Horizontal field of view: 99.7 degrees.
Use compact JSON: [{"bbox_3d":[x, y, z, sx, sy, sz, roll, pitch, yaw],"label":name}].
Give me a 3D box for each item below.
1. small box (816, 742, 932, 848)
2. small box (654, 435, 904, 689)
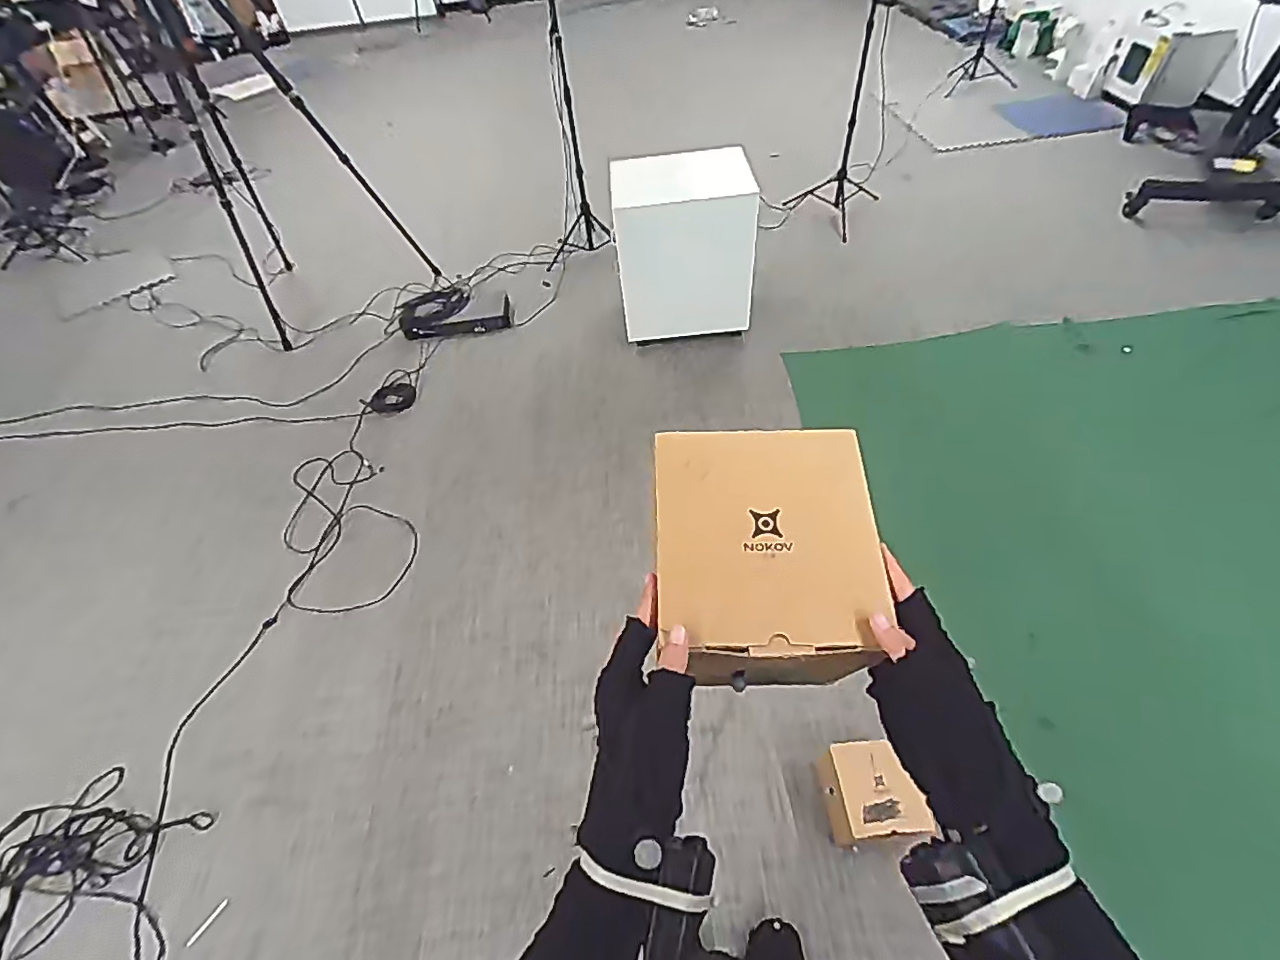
[{"bbox_3d":[0.497,0.690,1.179,0.168,0.176,0.179,-6,50,1],"label":"small box"},{"bbox_3d":[0.097,0.078,0.473,0.168,0.176,0.179,-1,62,1],"label":"small box"}]
